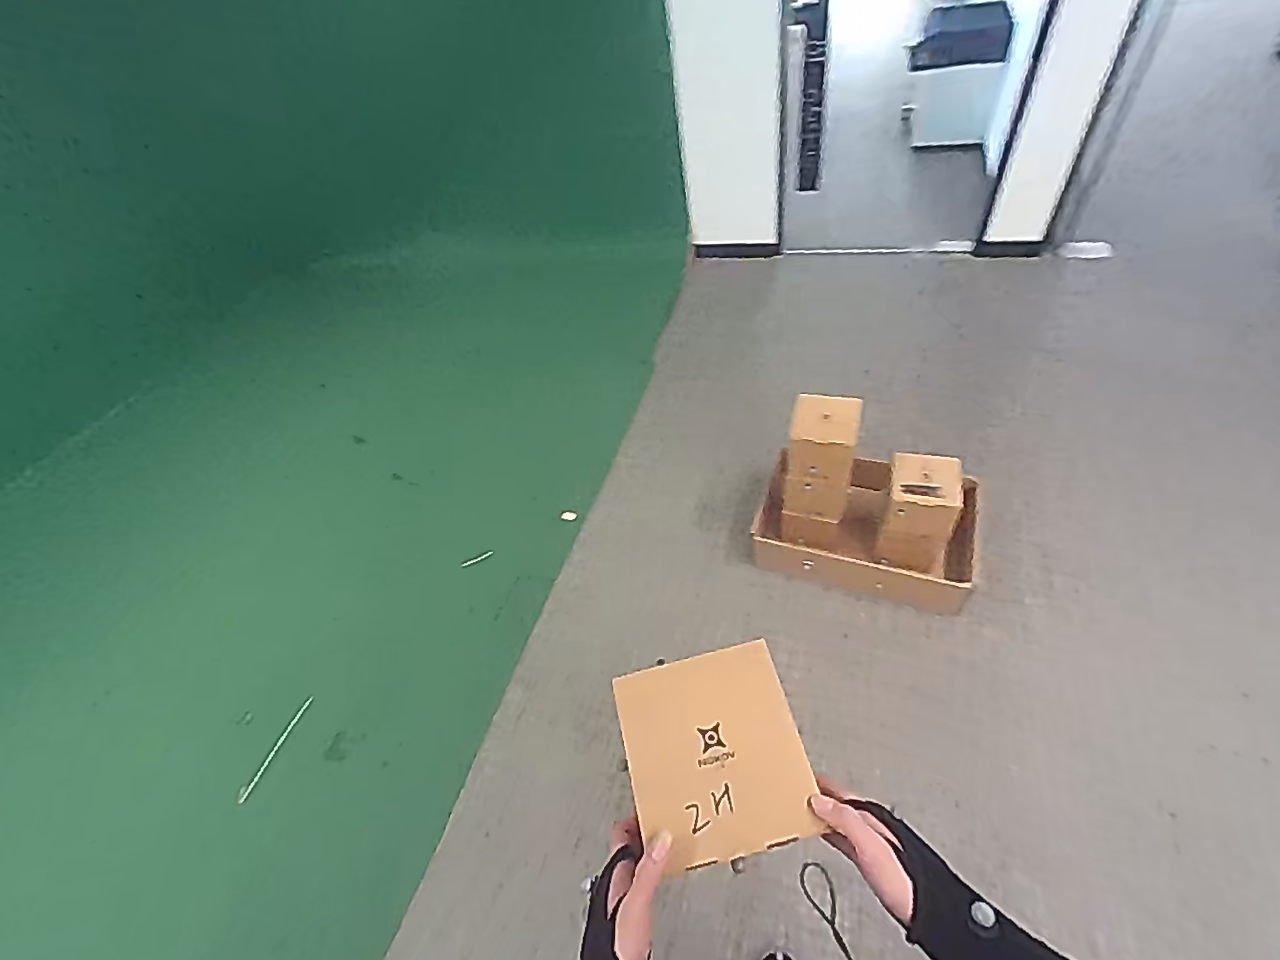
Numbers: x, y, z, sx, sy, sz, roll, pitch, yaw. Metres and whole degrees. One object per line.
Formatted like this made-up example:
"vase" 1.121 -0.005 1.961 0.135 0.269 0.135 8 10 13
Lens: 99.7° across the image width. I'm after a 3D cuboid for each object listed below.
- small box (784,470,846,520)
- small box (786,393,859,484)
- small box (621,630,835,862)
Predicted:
"small box" 0.527 -0.009 1.613 0.168 0.176 0.179 9 52 21
"small box" 0.500 -0.114 1.492 0.168 0.176 0.179 8 53 19
"small box" 0.082 0.285 0.575 0.168 0.176 0.179 -13 56 -1
